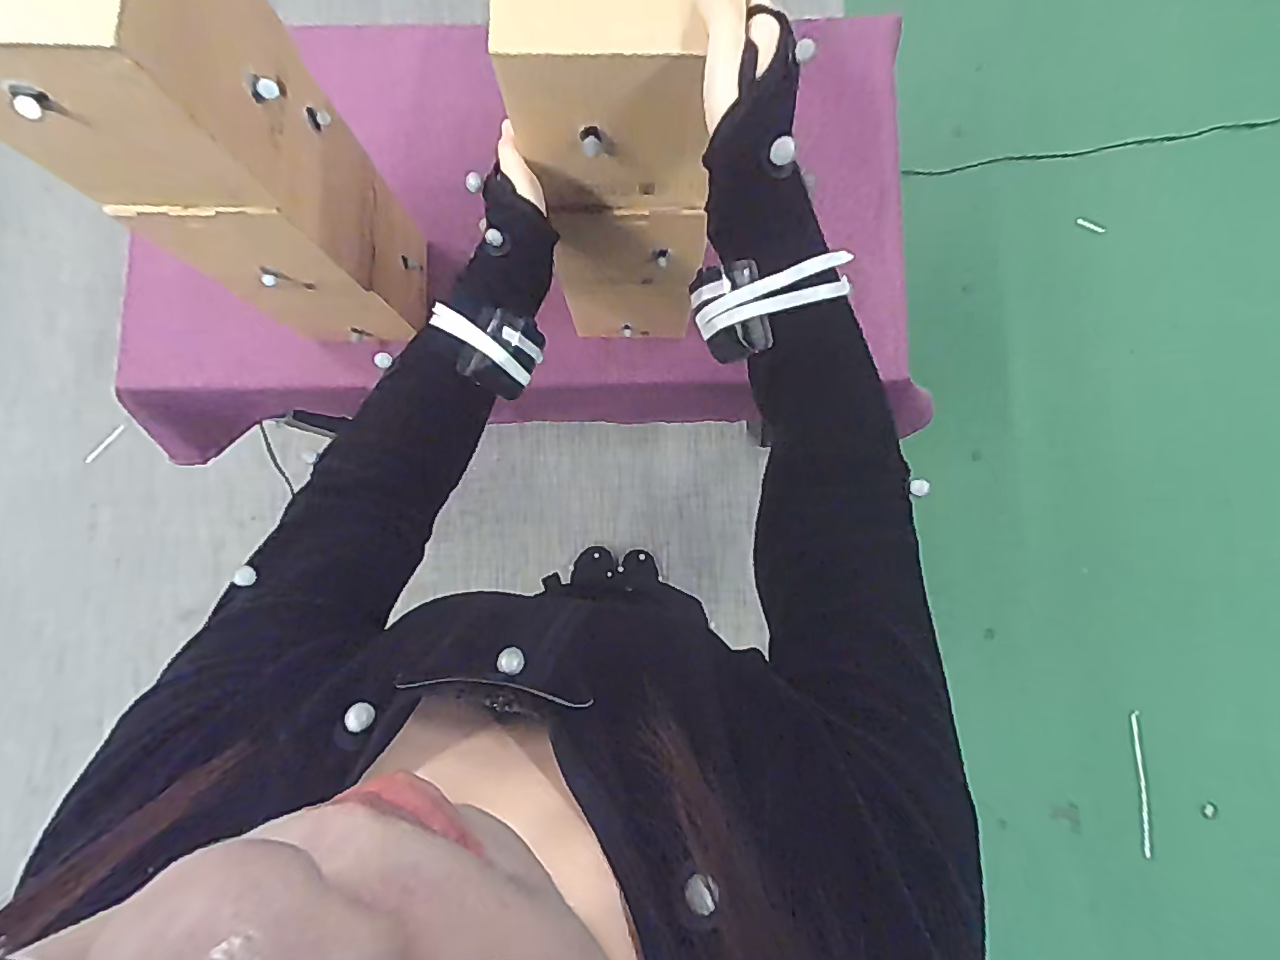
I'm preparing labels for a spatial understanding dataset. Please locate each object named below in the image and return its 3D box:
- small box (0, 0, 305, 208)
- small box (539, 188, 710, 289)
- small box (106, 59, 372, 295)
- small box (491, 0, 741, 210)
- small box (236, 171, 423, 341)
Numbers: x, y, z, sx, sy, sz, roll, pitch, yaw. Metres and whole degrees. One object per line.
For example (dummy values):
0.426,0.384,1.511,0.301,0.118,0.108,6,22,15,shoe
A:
-0.408,-0.341,0.429,0.179,0.176,0.168,1,84,-1,small box
-0.014,-0.326,0.597,0.168,0.176,0.179,0,84,-1,small box
-0.415,-0.323,0.592,0.168,0.176,0.179,0,84,0,small box
-0.014,-0.343,0.436,0.168,0.176,0.179,0,84,-1,small box
-0.417,-0.302,0.756,0.179,0.176,0.168,-2,84,-1,small box
